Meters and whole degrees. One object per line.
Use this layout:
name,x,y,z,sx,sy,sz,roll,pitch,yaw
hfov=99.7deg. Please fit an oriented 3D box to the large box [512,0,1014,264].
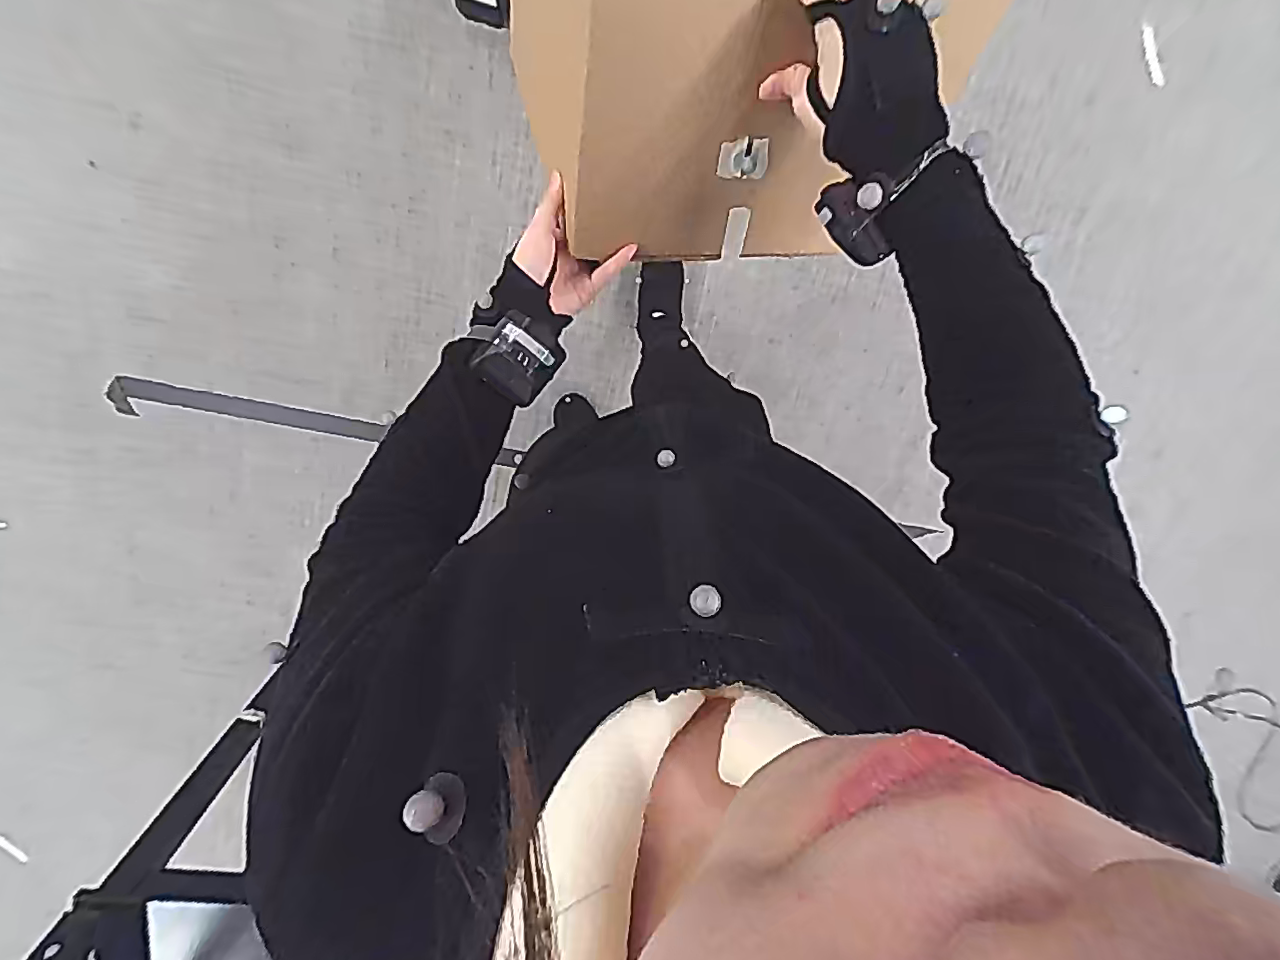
large box,0.064,-0.449,0.484,0.320,0.408,0.320,-8,148,-17
